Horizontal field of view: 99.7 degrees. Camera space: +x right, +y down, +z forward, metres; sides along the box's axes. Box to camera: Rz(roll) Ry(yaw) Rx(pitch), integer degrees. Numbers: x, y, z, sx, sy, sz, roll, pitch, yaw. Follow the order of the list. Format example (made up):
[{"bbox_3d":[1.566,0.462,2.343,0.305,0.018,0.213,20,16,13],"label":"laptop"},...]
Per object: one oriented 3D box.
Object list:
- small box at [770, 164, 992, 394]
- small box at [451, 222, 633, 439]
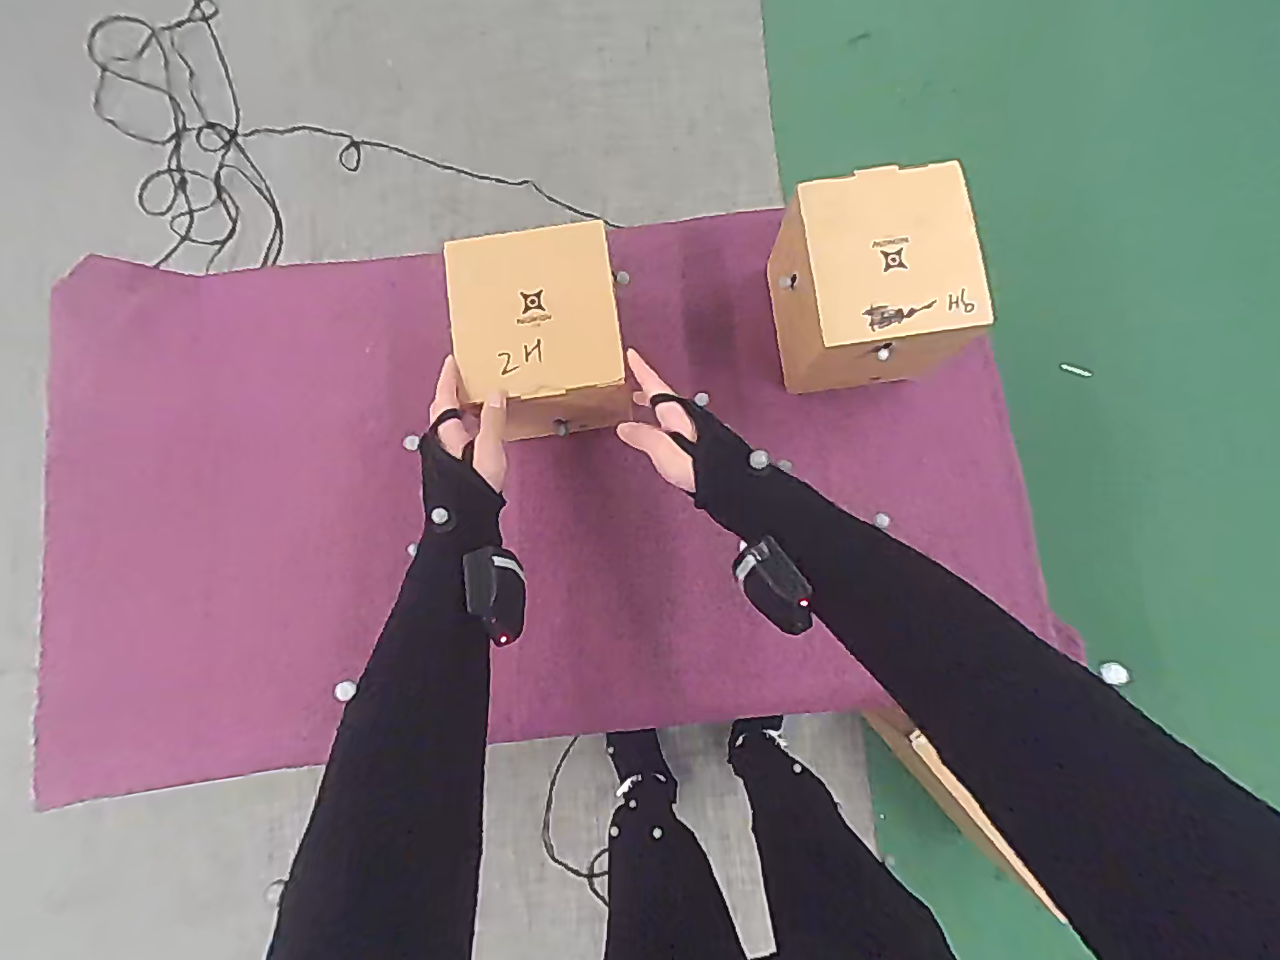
[{"bbox_3d":[0.253,-0.213,0.614,0.168,0.176,0.179,-7,82,2],"label":"small box"},{"bbox_3d":[-0.101,-0.158,0.618,0.168,0.176,0.179,-8,82,1],"label":"small box"}]
